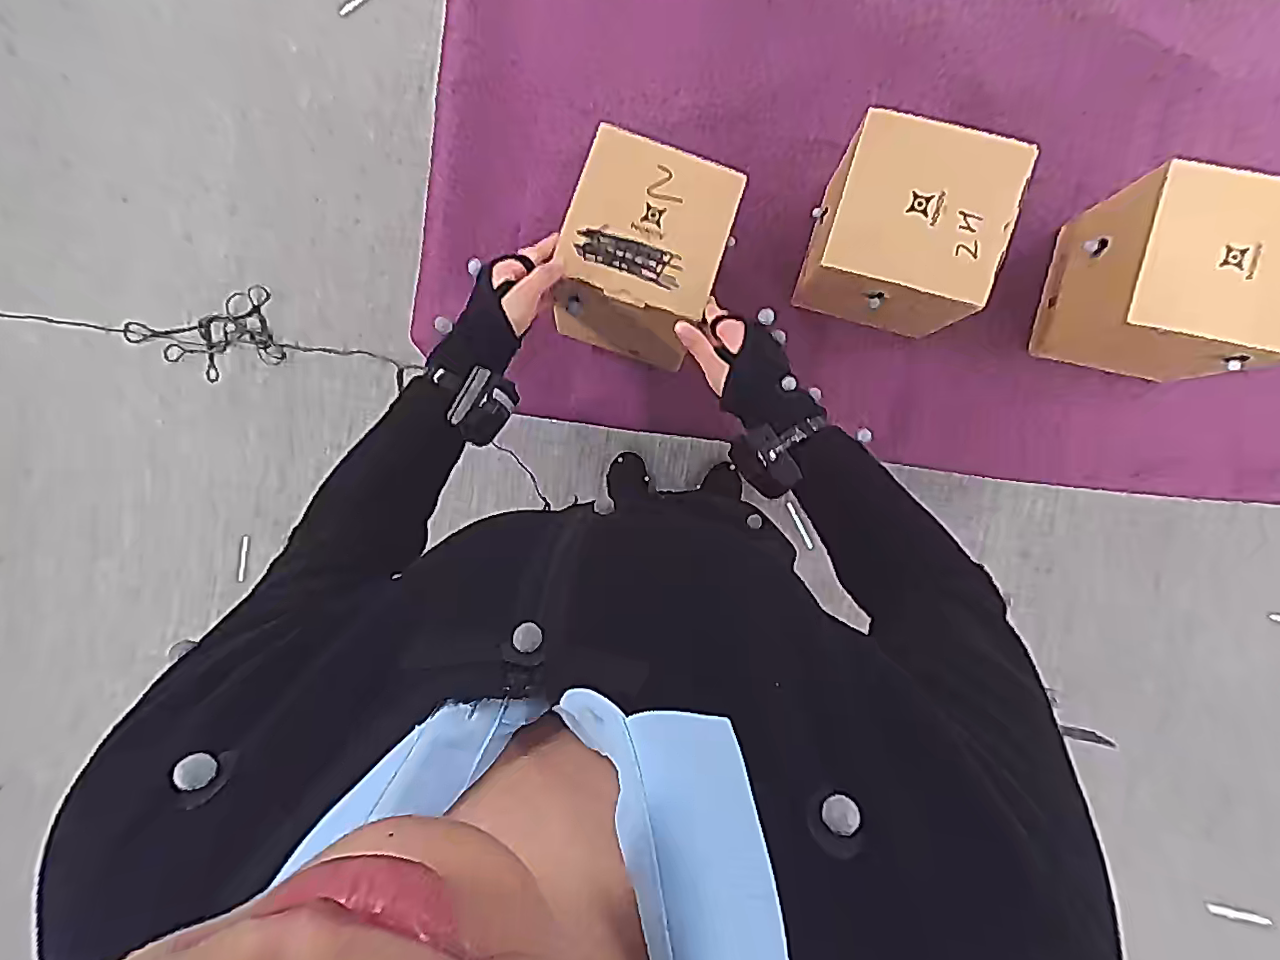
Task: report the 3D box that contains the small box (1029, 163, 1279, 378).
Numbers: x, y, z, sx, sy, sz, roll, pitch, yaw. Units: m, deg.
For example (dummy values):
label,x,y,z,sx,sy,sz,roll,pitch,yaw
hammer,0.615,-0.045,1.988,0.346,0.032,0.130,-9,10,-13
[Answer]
label,x,y,z,sx,sy,sz,roll,pitch,yaw
small box,0.591,-0.219,0.611,0.179,0.176,0.168,13,93,4

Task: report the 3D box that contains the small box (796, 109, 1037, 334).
label,x,y,z,sx,sy,sz,roll,pitch,yaw
small box,0.299,-0.283,0.631,0.179,0.176,0.168,17,95,3
